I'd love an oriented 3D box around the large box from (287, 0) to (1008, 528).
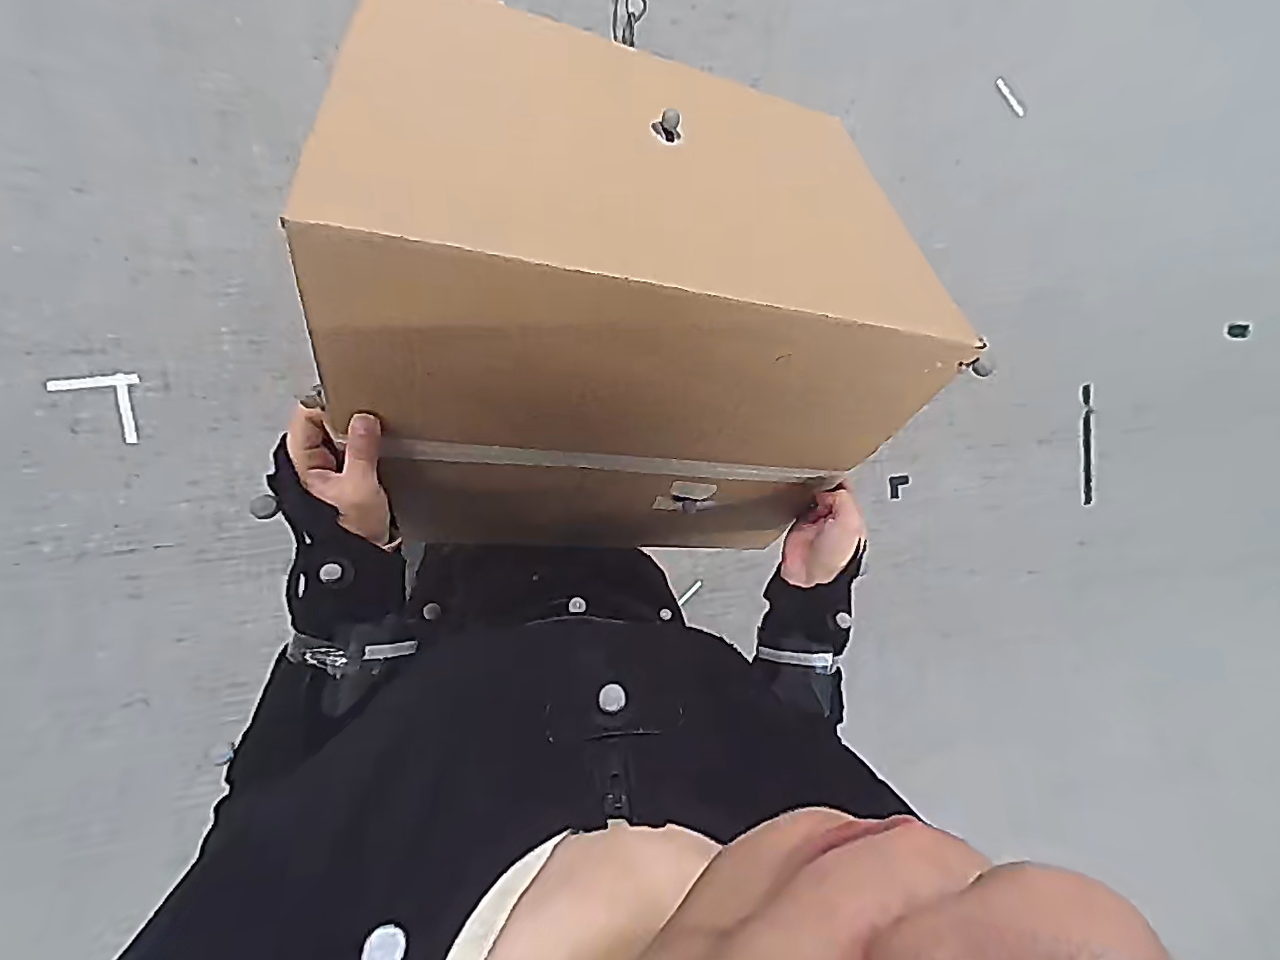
[{"bbox_3d":[-0.019,-0.163,0.474,0.408,0.320,0.320,2,58,-19],"label":"large box"}]
